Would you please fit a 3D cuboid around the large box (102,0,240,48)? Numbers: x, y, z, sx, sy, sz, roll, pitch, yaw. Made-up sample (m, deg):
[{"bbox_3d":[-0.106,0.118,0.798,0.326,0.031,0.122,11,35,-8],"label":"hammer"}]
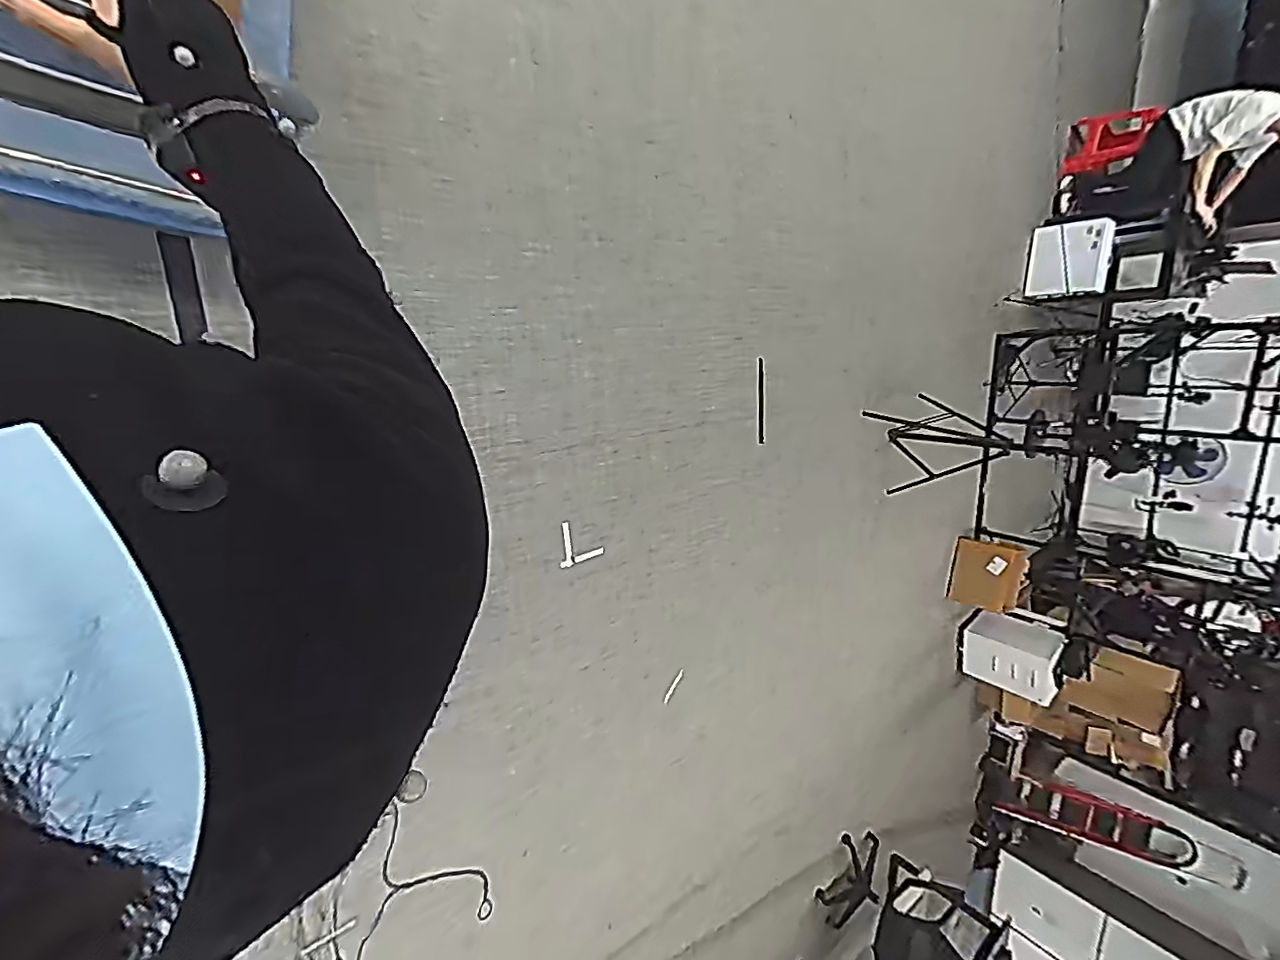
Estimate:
[{"bbox_3d":[-0.785,-0.896,0.722,0.408,0.320,0.320,1,98,-38],"label":"large box"}]
